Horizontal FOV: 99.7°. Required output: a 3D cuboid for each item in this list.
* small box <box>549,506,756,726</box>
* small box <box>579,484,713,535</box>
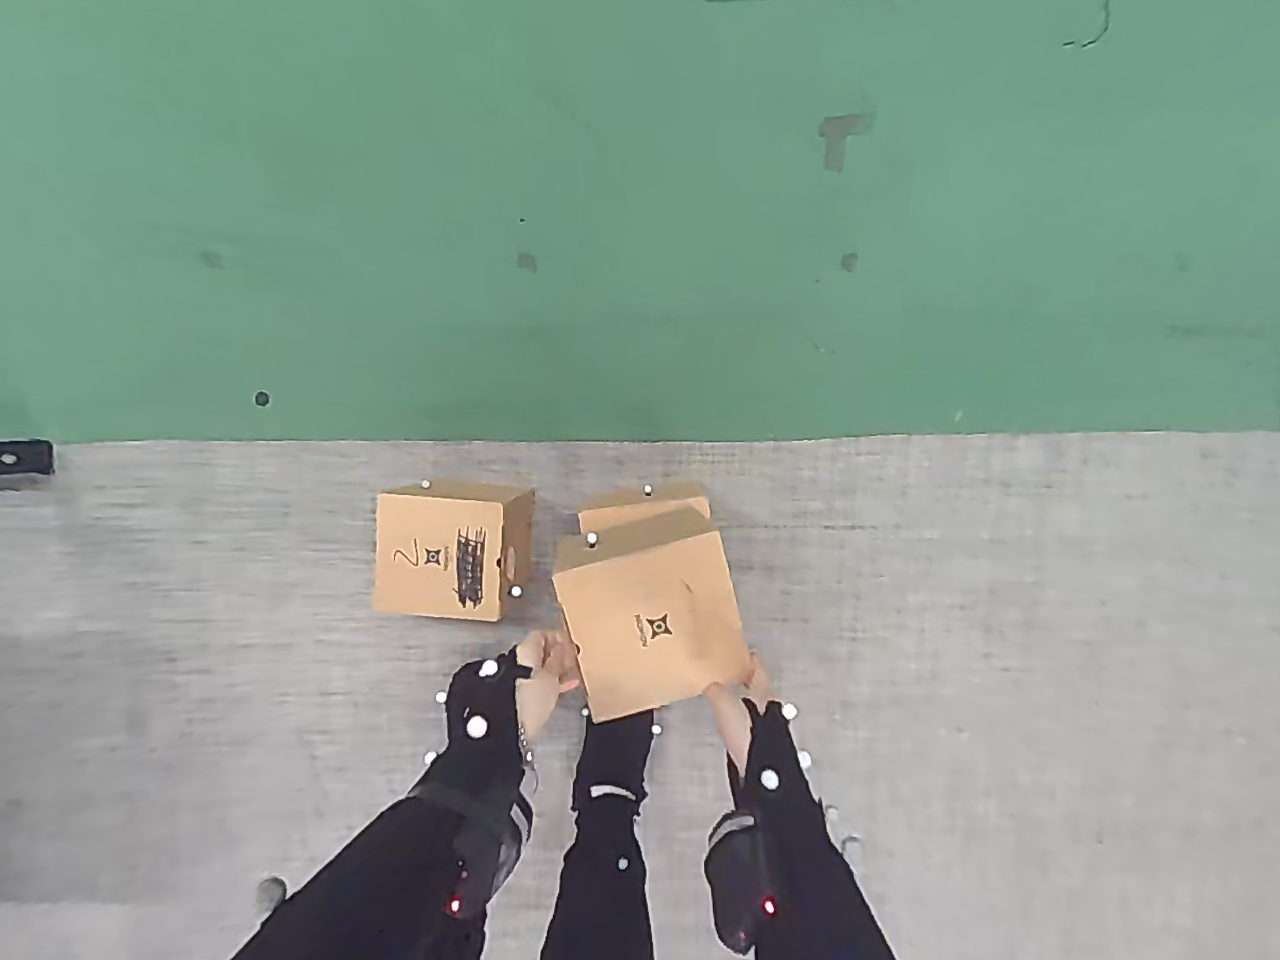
[{"bbox_3d":[0.010,0.139,0.612,0.179,0.176,0.168,-16,98,-3],"label":"small box"},{"bbox_3d":[0.018,0.102,0.791,0.179,0.176,0.168,-8,96,2],"label":"small box"}]
